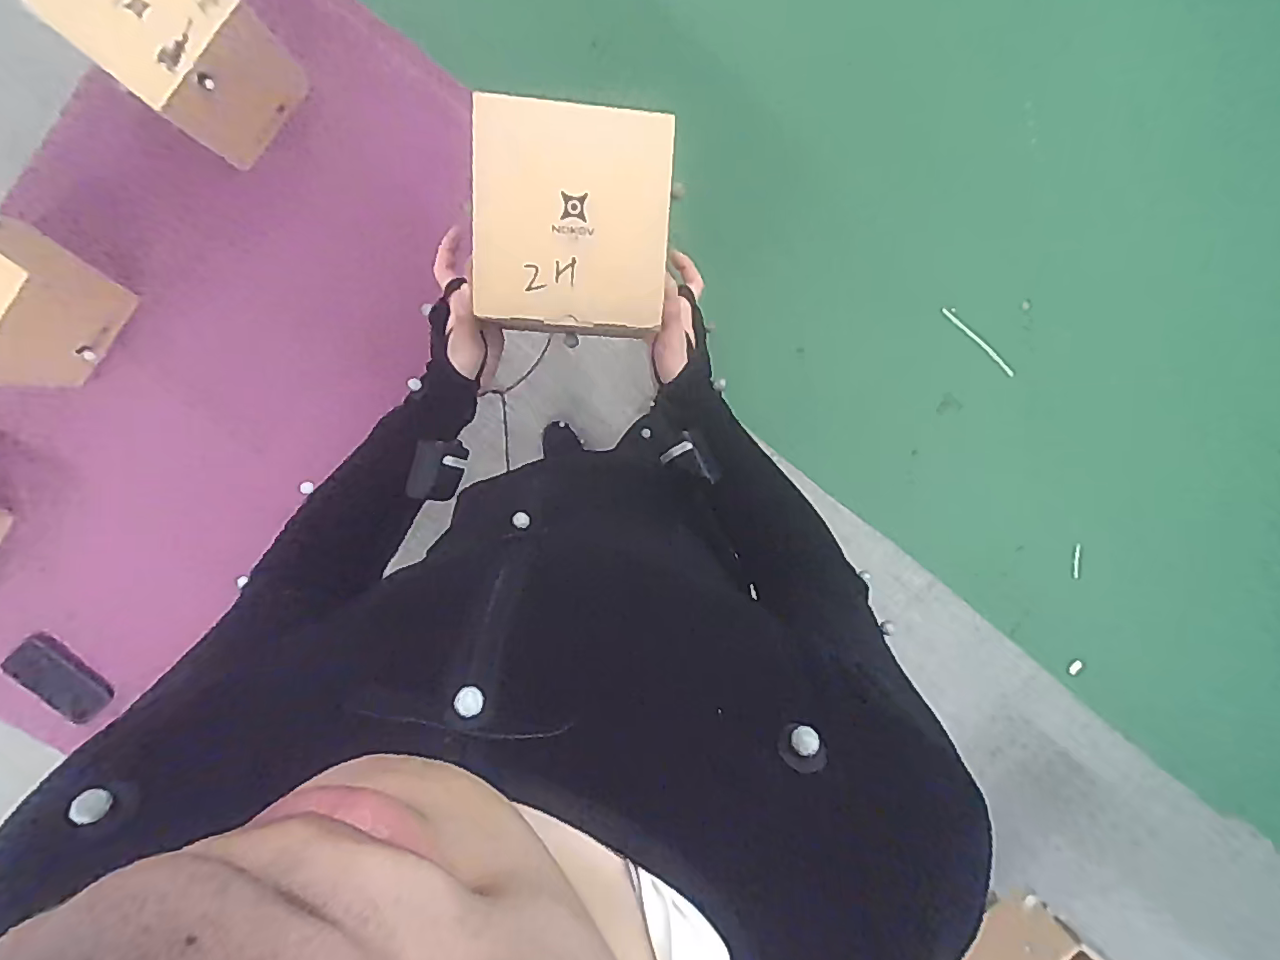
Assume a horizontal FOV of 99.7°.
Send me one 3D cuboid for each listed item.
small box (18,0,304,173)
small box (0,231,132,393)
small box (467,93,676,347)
[{"bbox_3d":[-0.589,-0.542,0.693,0.179,0.176,0.168,39,93,-8],"label":"small box"},{"bbox_3d":[-0.850,-0.225,0.708,0.179,0.176,0.168,36,93,-9],"label":"small box"},{"bbox_3d":[-0.066,-0.229,0.525,0.168,0.176,0.179,3,101,-6],"label":"small box"}]
